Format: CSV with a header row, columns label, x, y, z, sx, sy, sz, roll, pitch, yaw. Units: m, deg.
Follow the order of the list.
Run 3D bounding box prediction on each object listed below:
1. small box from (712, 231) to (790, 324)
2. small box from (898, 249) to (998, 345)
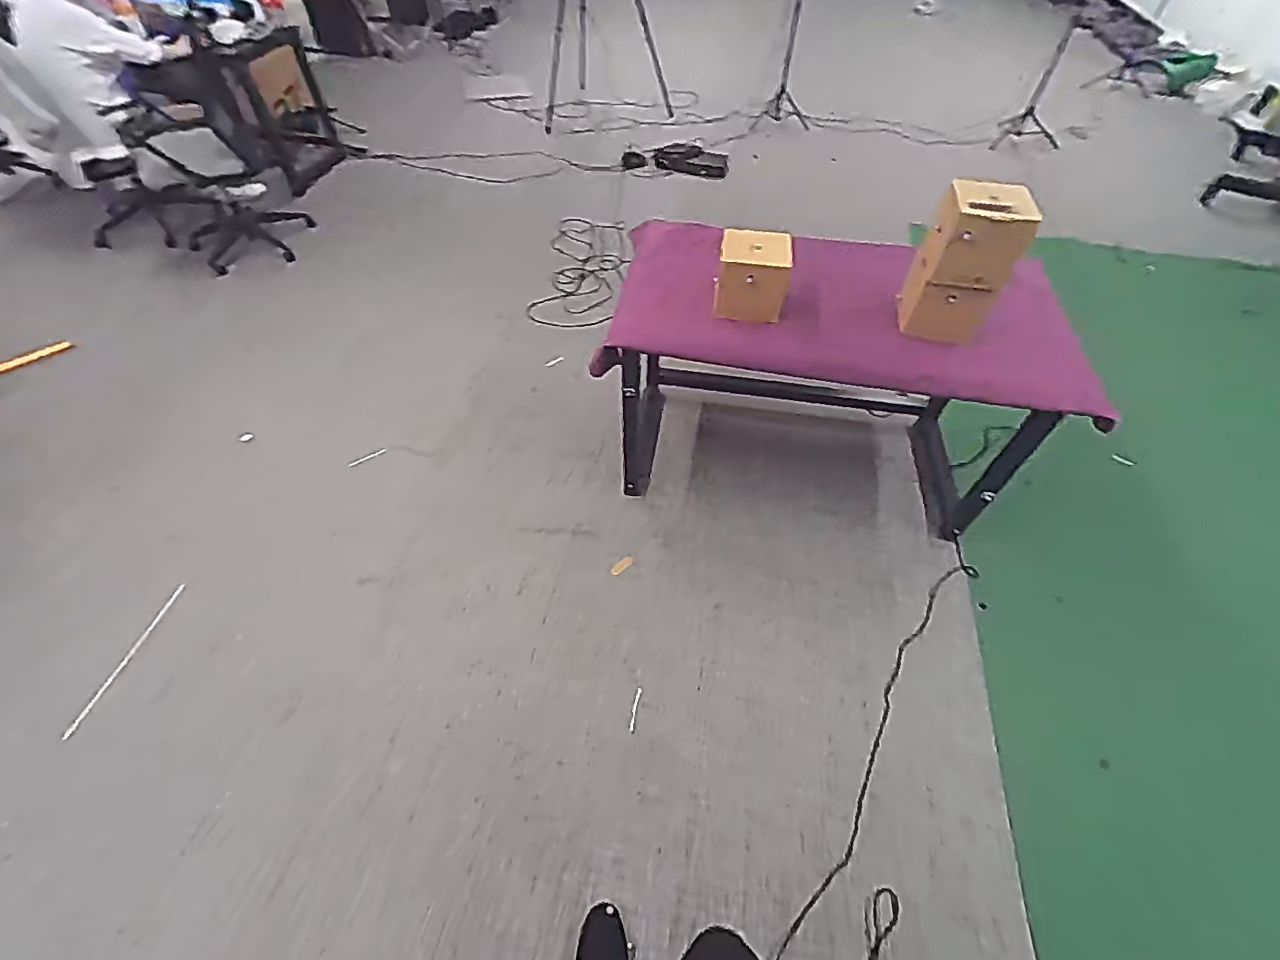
label,x,y,z,sx,sy,sz,roll,pitch,yaw
small box,0.296,-0.540,1.455,0.179,0.176,0.168,7,53,5
small box,0.788,-0.474,1.407,0.179,0.176,0.168,11,53,7
